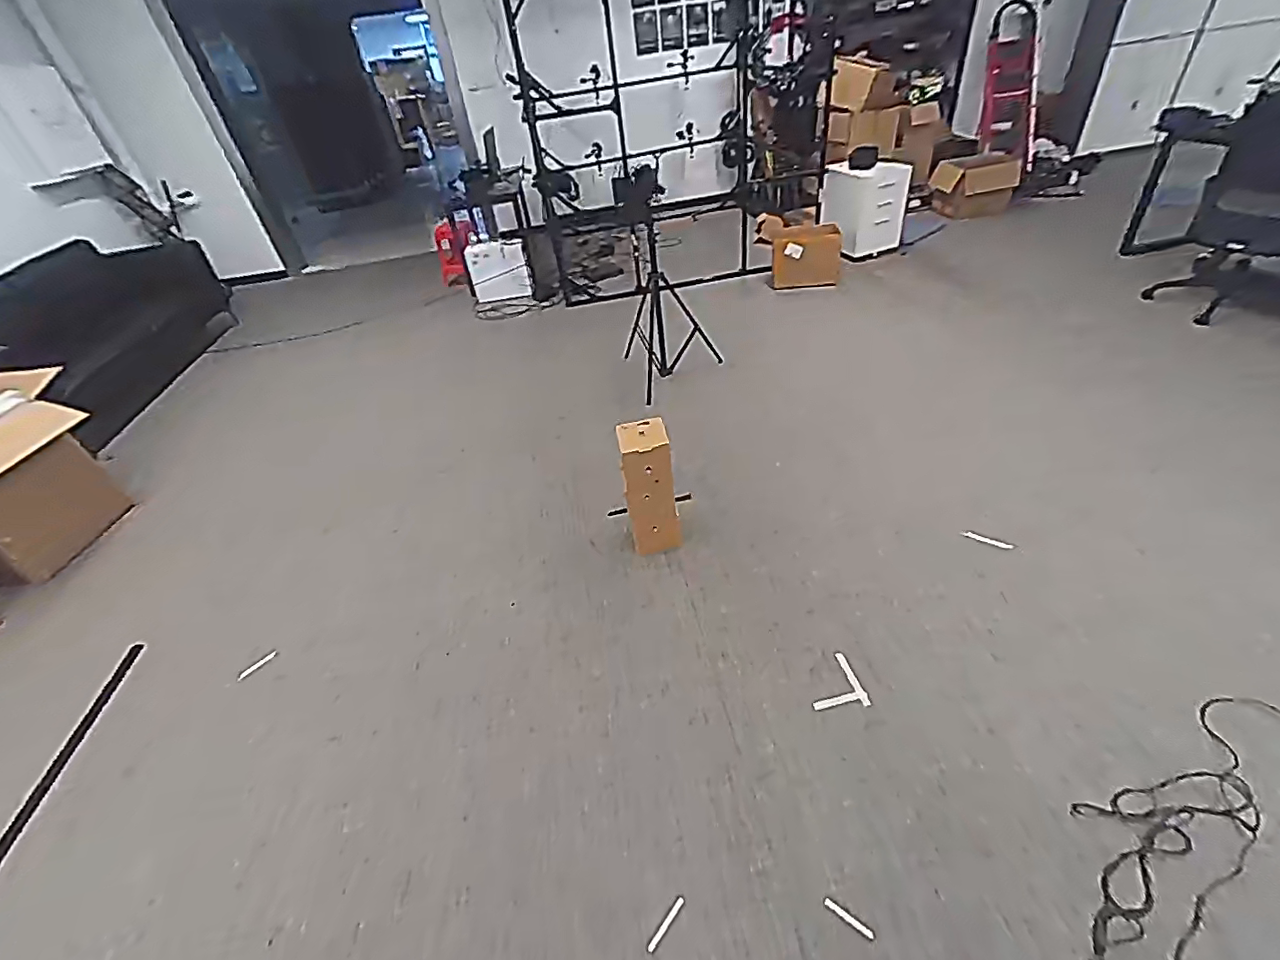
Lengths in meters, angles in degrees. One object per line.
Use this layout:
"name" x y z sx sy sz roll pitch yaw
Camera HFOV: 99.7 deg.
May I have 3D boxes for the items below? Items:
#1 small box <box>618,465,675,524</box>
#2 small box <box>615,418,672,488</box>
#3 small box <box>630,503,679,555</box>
"small box" 0.025 0.043 1.983 0.179 0.176 0.168 -10 40 -1
"small box" 0.013 -0.087 1.883 0.168 0.176 0.179 -11 40 -2
"small box" 0.051 0.166 2.089 0.179 0.176 0.168 -12 39 -3
